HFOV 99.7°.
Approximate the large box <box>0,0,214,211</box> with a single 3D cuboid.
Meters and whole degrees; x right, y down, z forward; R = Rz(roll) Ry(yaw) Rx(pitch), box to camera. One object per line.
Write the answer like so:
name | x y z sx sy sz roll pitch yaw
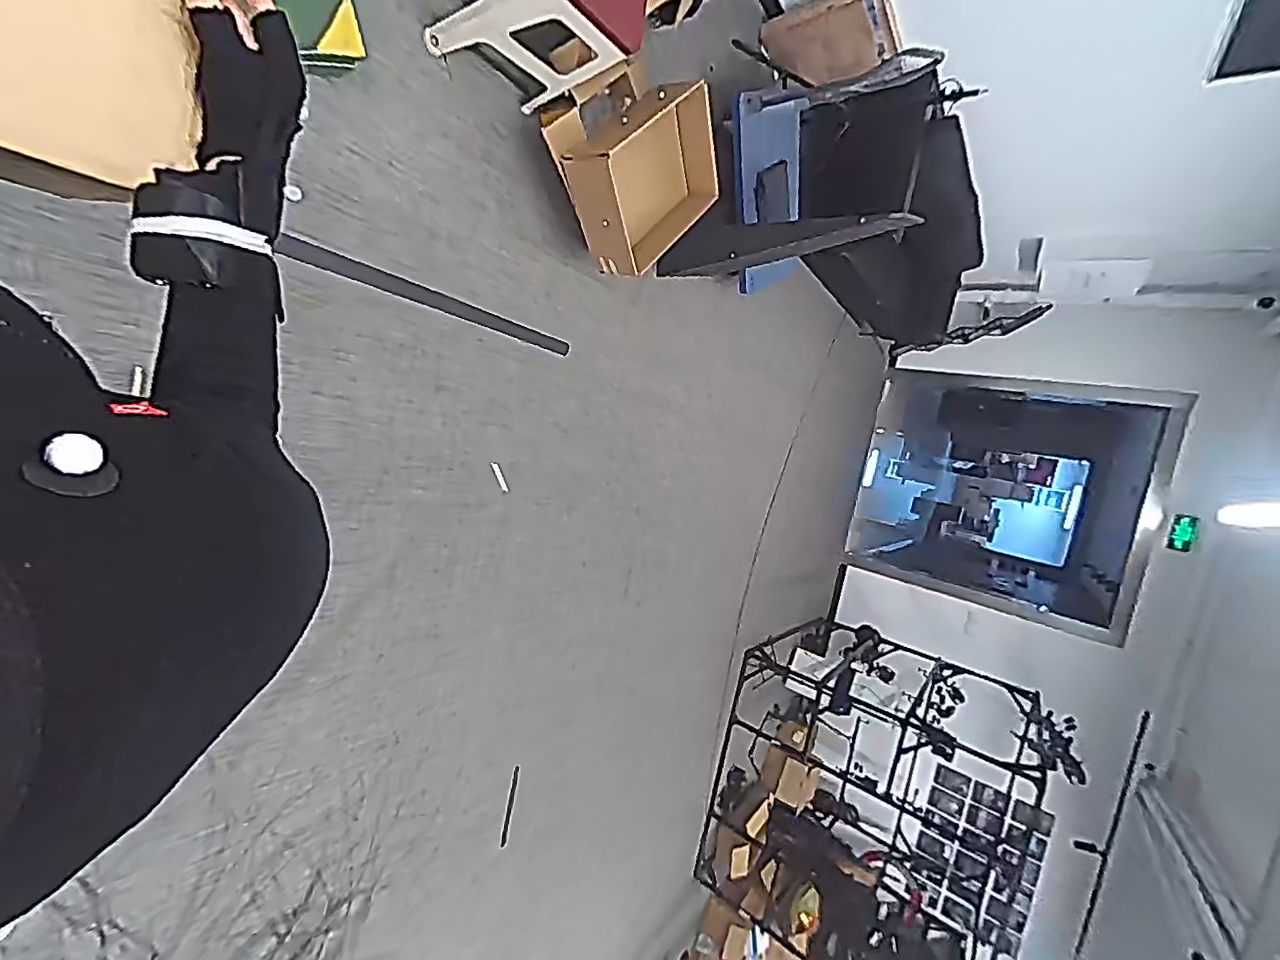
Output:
large box | -0.535 -0.386 0.297 0.408 0.320 0.320 -2 109 -58
